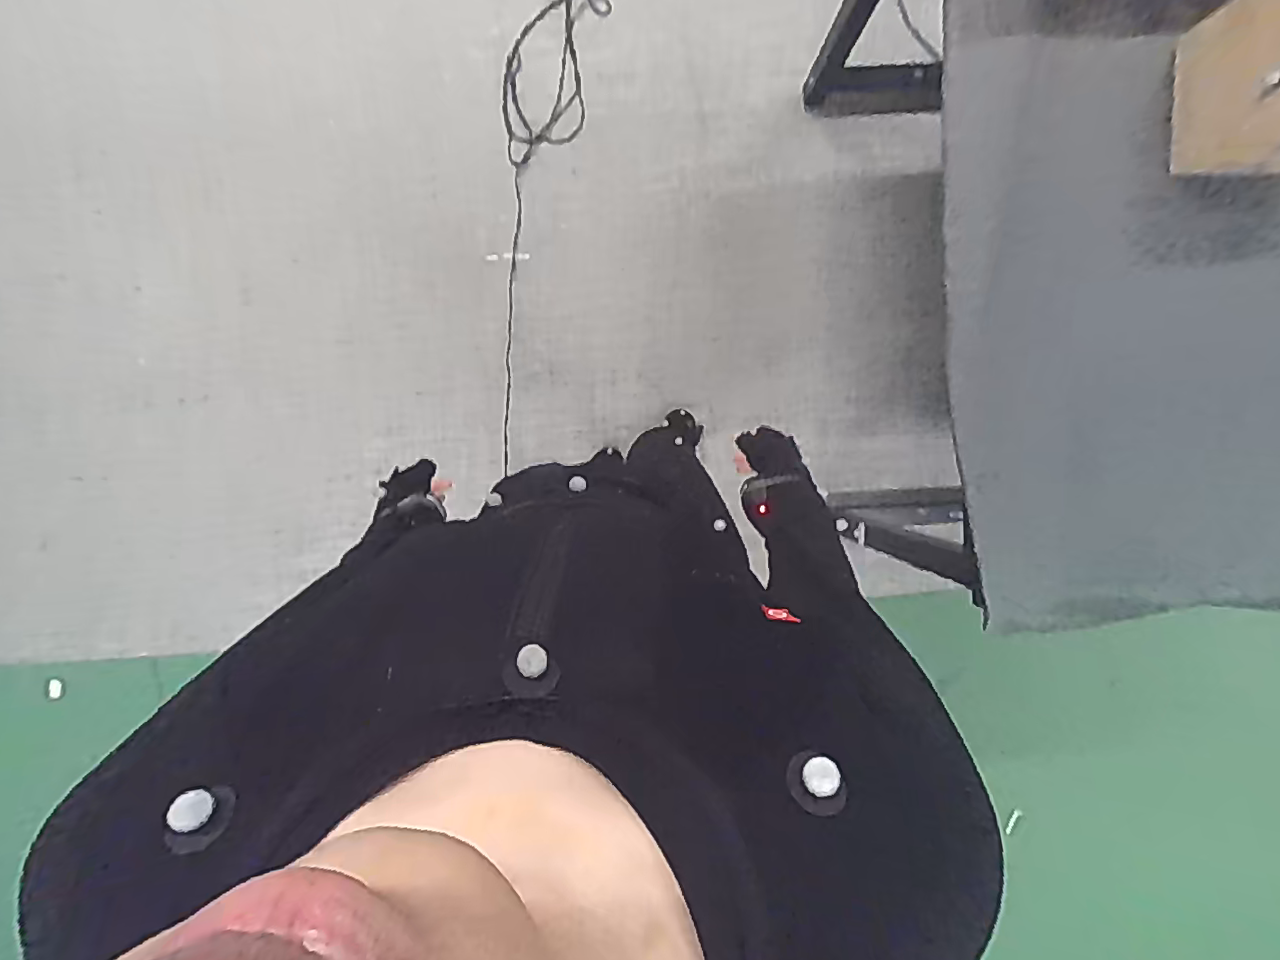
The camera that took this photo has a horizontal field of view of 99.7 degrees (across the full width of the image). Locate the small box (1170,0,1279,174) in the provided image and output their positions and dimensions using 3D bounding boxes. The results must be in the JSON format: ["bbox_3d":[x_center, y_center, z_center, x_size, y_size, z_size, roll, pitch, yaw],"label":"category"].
[{"bbox_3d":[0.798,-0.494,0.650,0.168,0.176,0.179,-1,94,-1],"label":"small box"}]
